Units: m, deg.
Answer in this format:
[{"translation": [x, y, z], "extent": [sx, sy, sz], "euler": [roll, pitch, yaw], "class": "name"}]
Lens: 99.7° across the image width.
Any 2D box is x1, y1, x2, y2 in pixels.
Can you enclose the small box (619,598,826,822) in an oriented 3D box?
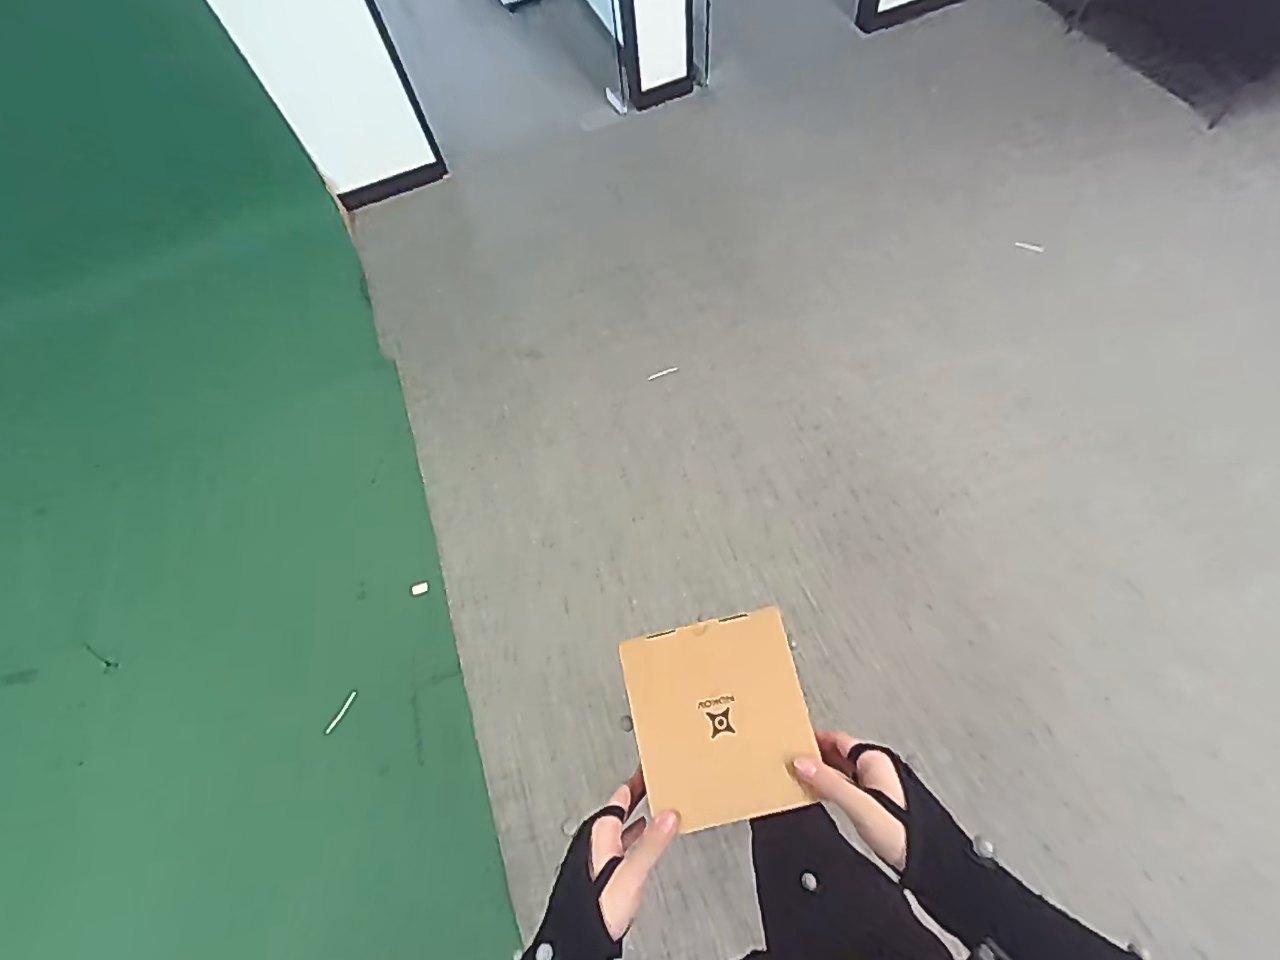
[{"translation": [0.083, 0.239, 0.597], "extent": [0.168, 0.176, 0.179], "euler": [-15, 72, 1], "class": "small box"}]
